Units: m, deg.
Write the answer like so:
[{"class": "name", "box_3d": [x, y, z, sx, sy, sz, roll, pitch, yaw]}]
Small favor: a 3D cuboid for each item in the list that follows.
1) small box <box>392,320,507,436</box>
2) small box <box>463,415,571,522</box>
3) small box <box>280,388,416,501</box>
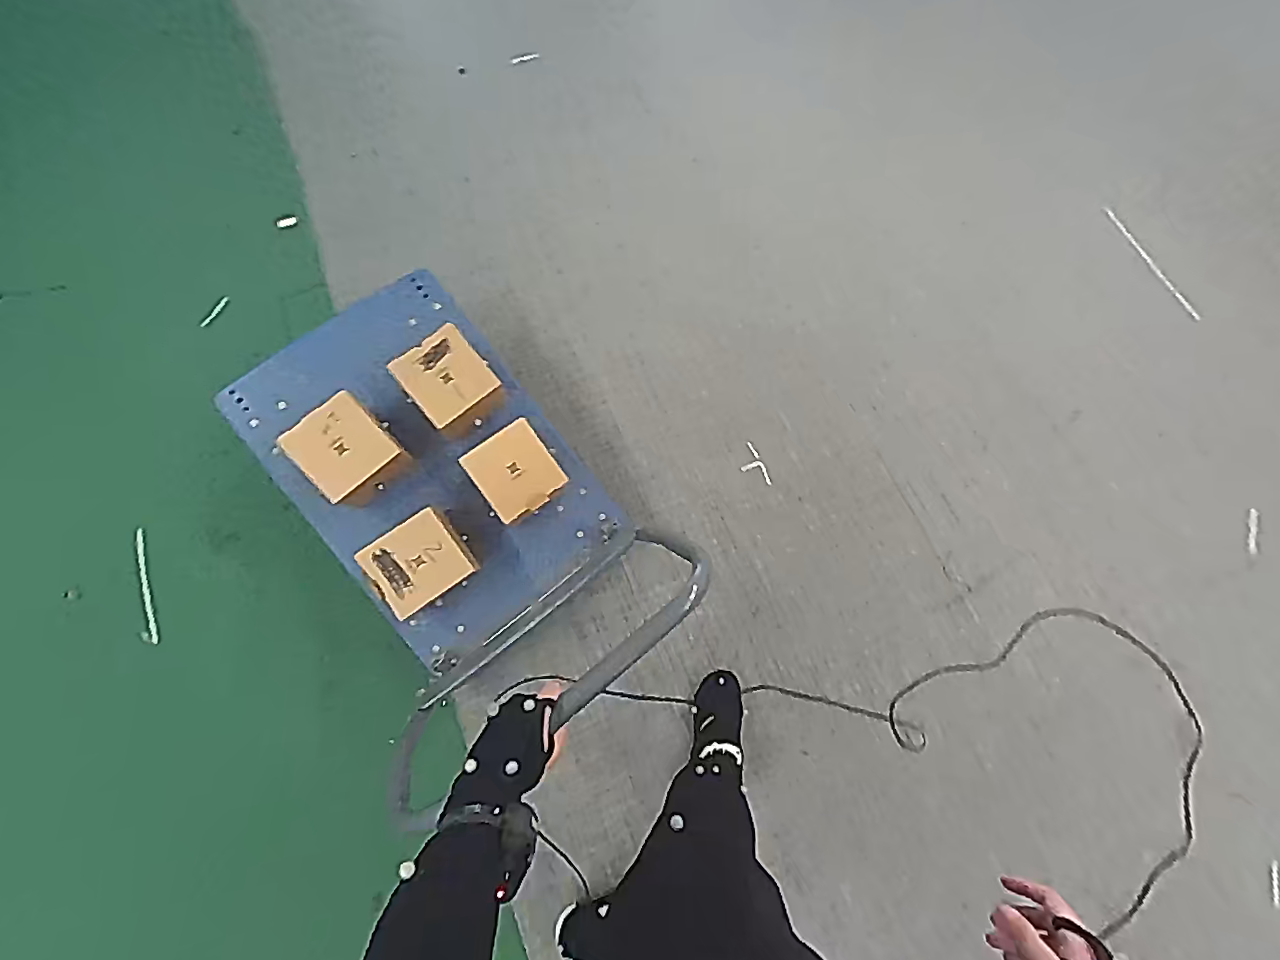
[{"class": "small box", "box_3d": [-0.421, -0.221, 1.225, 0.168, 0.176, 0.179, -39, 92, -11]}, {"class": "small box", "box_3d": [-0.277, -0.017, 1.231, 0.168, 0.176, 0.179, -36, 91, -12]}, {"class": "small box", "box_3d": [-0.618, -0.068, 1.172, 0.168, 0.176, 0.179, -42, 92, -12]}]
